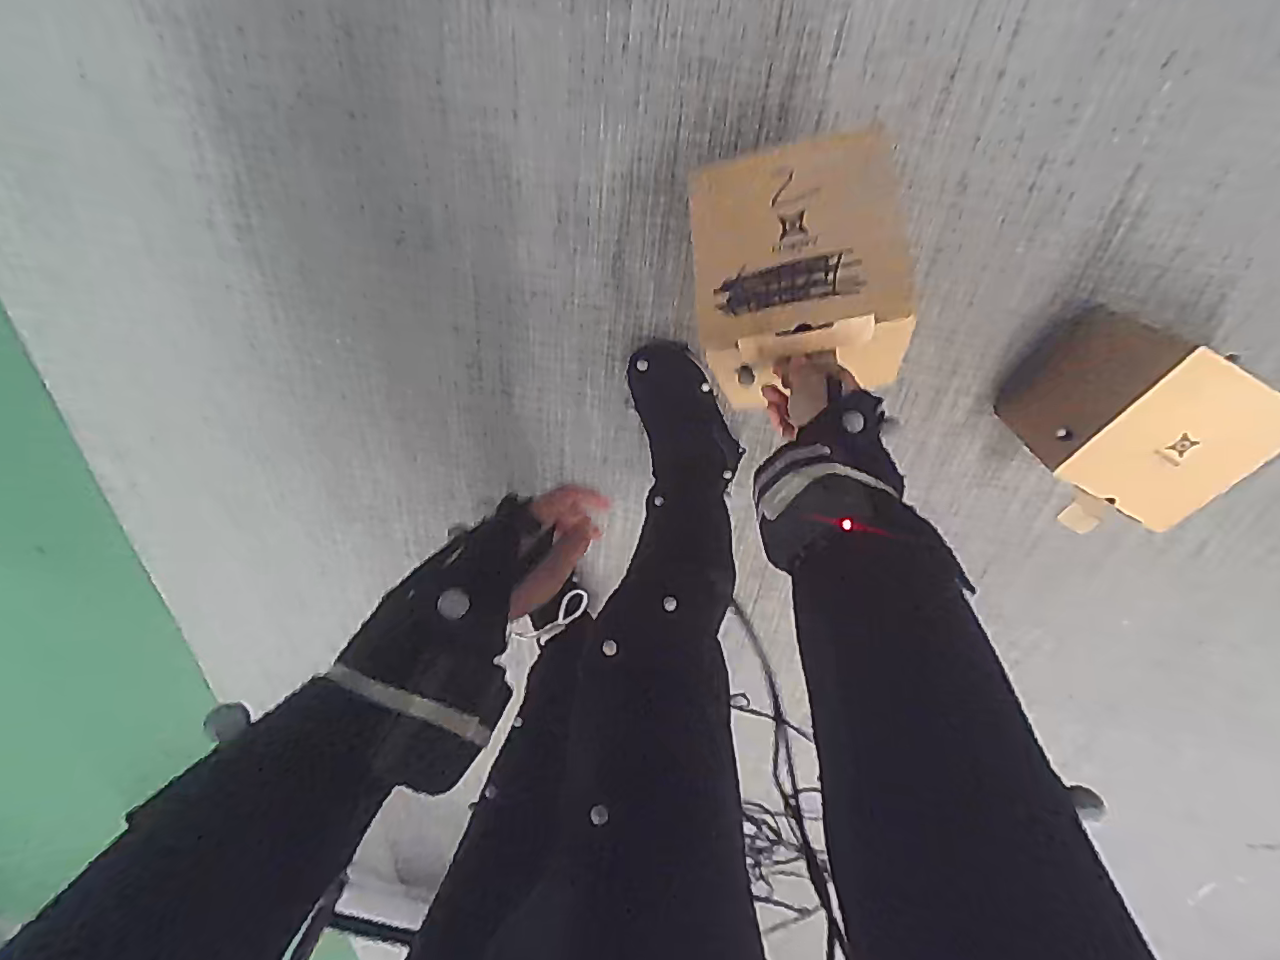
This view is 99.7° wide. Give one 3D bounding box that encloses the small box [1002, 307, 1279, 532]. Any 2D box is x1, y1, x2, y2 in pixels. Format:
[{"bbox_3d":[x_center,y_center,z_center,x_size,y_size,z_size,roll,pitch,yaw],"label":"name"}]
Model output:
[{"bbox_3d":[0.585,-0.078,0.642,0.168,0.176,0.179,26,123,-7],"label":"small box"}]
